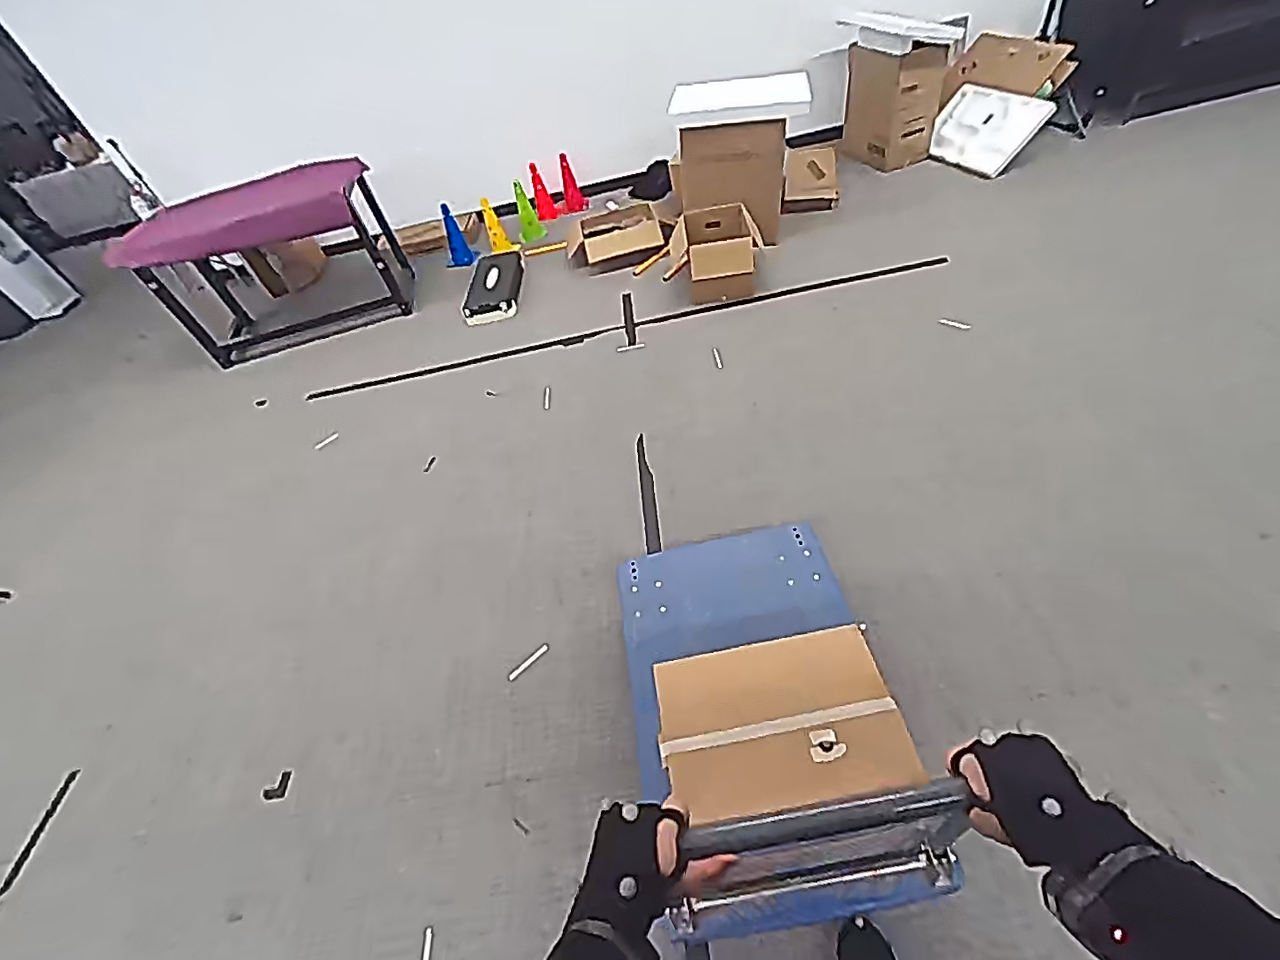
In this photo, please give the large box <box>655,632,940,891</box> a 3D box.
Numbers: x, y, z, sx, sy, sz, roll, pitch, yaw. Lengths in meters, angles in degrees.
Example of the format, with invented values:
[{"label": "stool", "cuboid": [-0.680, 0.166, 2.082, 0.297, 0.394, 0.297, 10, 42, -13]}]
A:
[{"label": "large box", "cuboid": [0.265, 0.537, 1.026, 0.408, 0.320, 0.320, -12, 47, 2]}]
